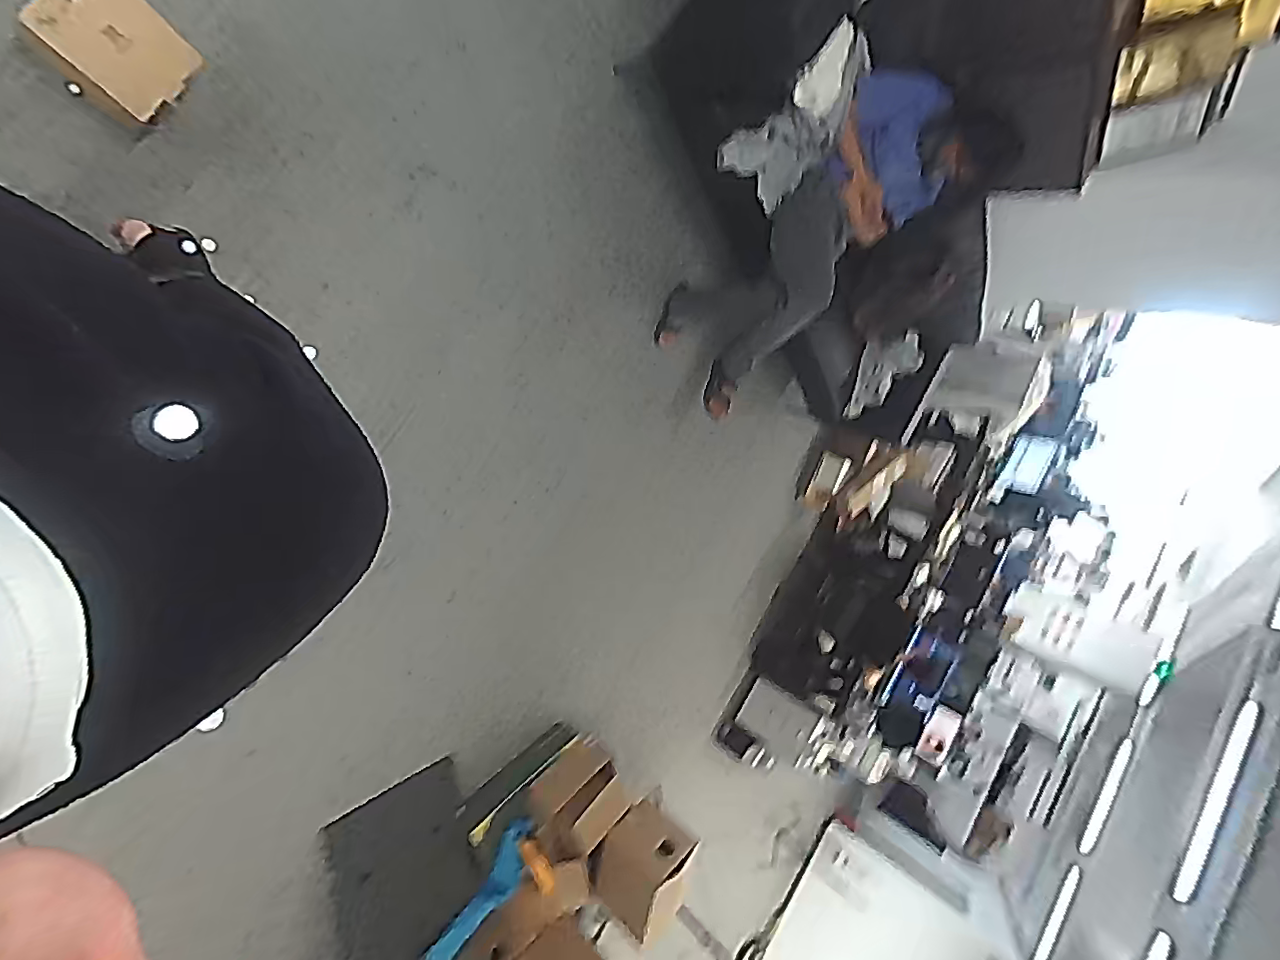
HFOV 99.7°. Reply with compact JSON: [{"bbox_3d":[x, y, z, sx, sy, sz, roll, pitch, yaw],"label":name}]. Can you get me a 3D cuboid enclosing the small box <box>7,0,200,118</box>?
[{"bbox_3d":[-0.937,-0.772,0.949,0.168,0.176,0.179,-57,142,-11],"label":"small box"}]
